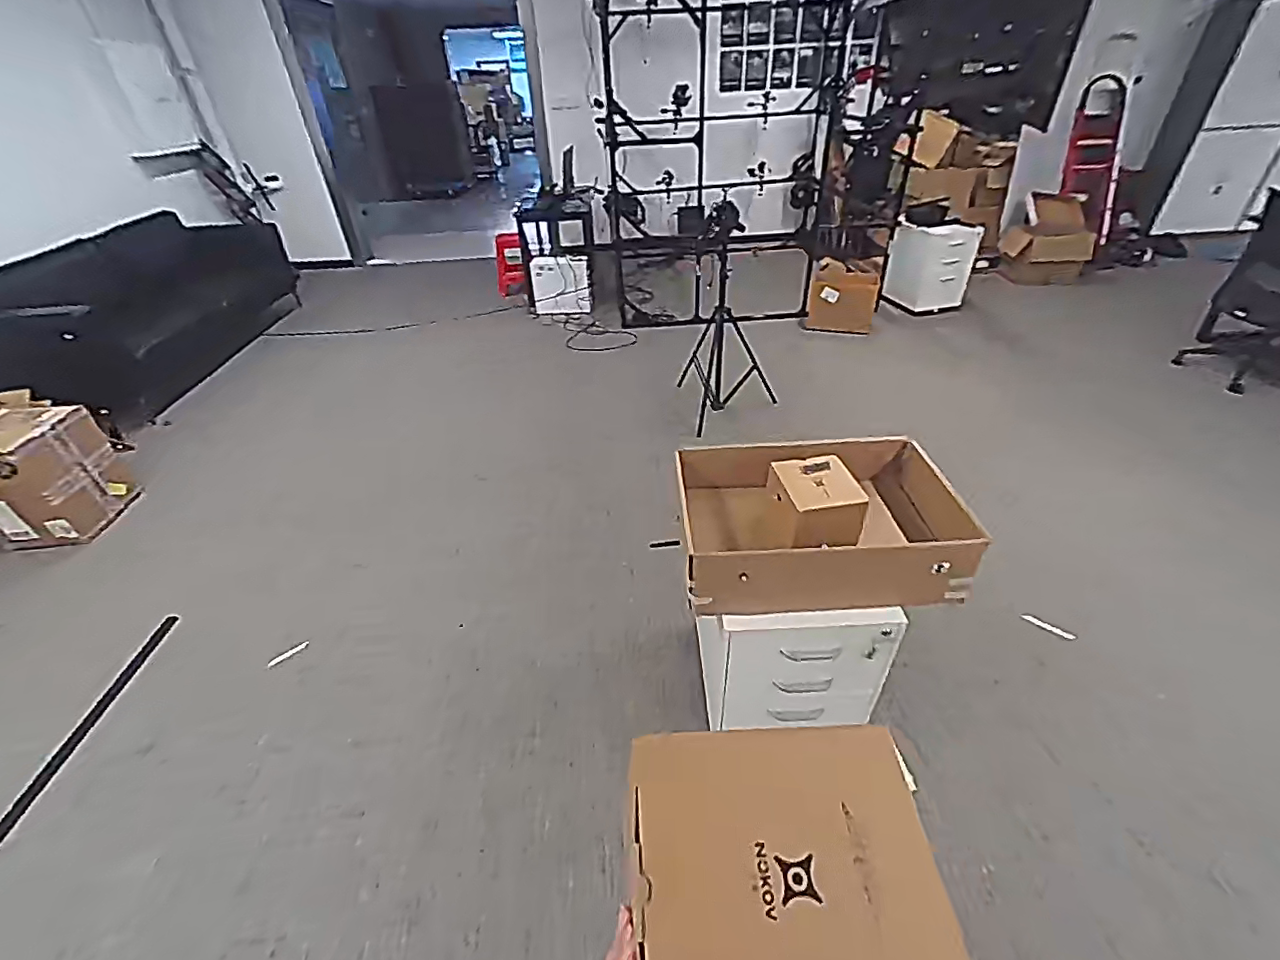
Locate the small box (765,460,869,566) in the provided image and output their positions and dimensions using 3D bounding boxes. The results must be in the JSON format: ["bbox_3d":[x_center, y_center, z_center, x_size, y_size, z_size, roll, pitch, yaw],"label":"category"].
[{"bbox_3d":[0.403,0.076,1.270,0.168,0.176,0.179,-7,38,-6],"label":"small box"}]
